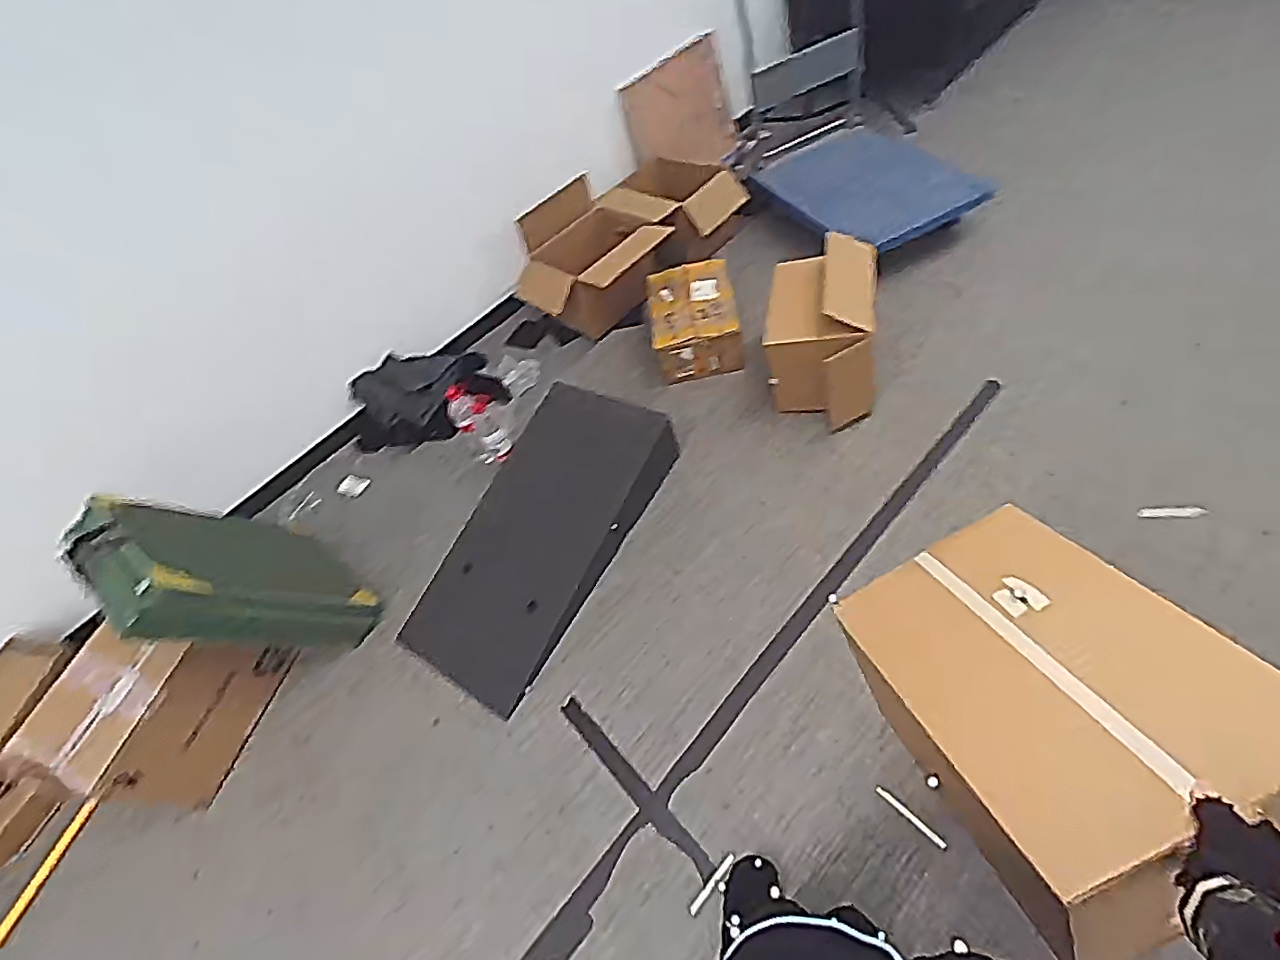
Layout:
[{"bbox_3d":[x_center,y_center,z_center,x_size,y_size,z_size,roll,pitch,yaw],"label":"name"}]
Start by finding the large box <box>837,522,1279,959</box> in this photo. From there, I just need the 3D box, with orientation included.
[{"bbox_3d":[0.550,0.337,0.737,0.320,0.320,0.408,-30,30,2],"label":"large box"}]
